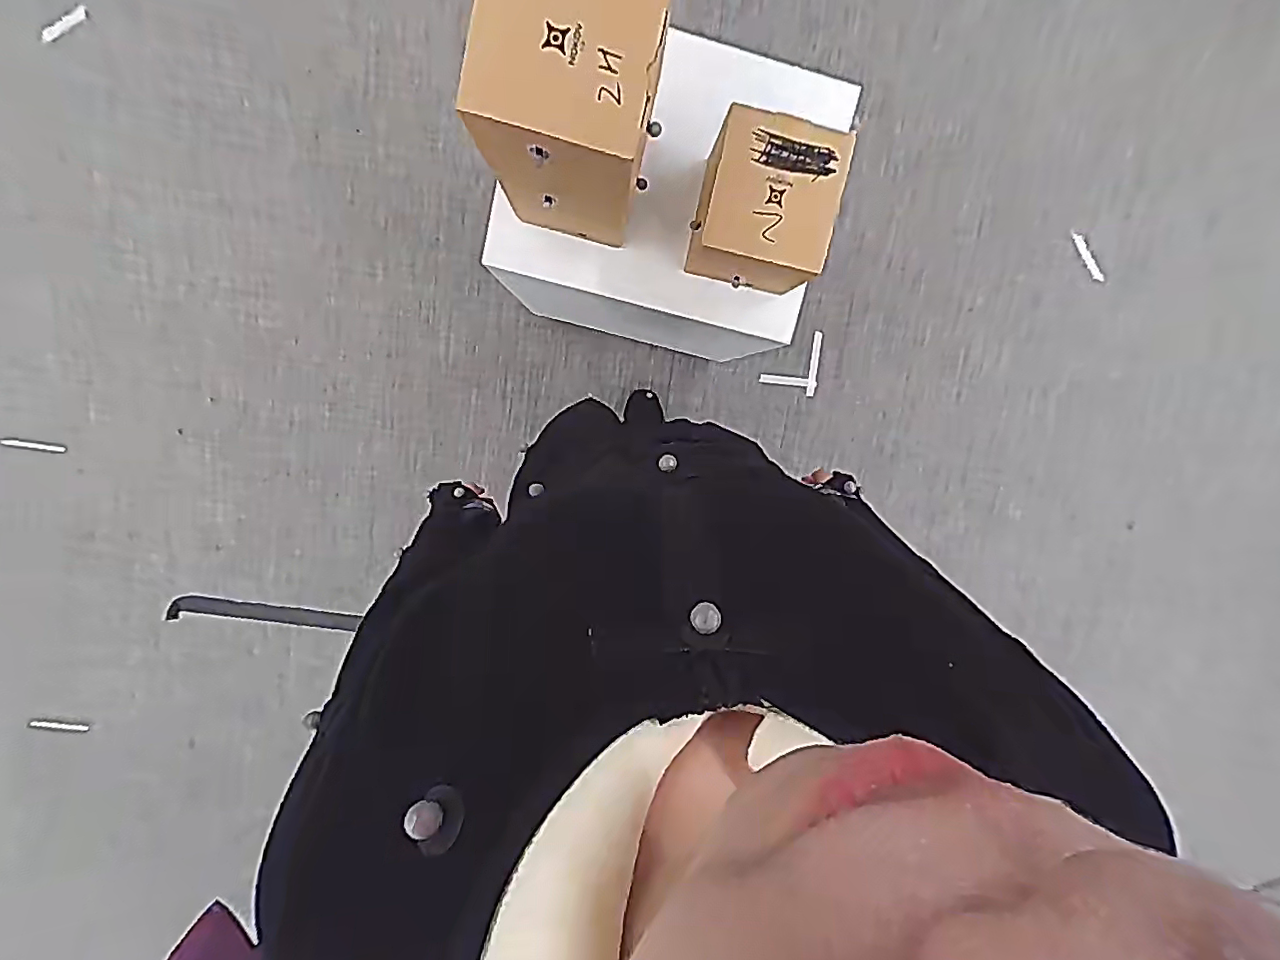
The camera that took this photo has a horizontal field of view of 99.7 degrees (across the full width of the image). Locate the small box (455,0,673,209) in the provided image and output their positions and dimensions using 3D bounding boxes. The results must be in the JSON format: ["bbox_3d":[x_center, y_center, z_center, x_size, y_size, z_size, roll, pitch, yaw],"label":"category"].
[{"bbox_3d":[-0.074,-0.416,0.580,0.179,0.176,0.168,13,99,-6],"label":"small box"}]

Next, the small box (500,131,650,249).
[{"bbox_3d":[-0.081,-0.446,0.741,0.168,0.176,0.179,14,97,-5],"label":"small box"}]
